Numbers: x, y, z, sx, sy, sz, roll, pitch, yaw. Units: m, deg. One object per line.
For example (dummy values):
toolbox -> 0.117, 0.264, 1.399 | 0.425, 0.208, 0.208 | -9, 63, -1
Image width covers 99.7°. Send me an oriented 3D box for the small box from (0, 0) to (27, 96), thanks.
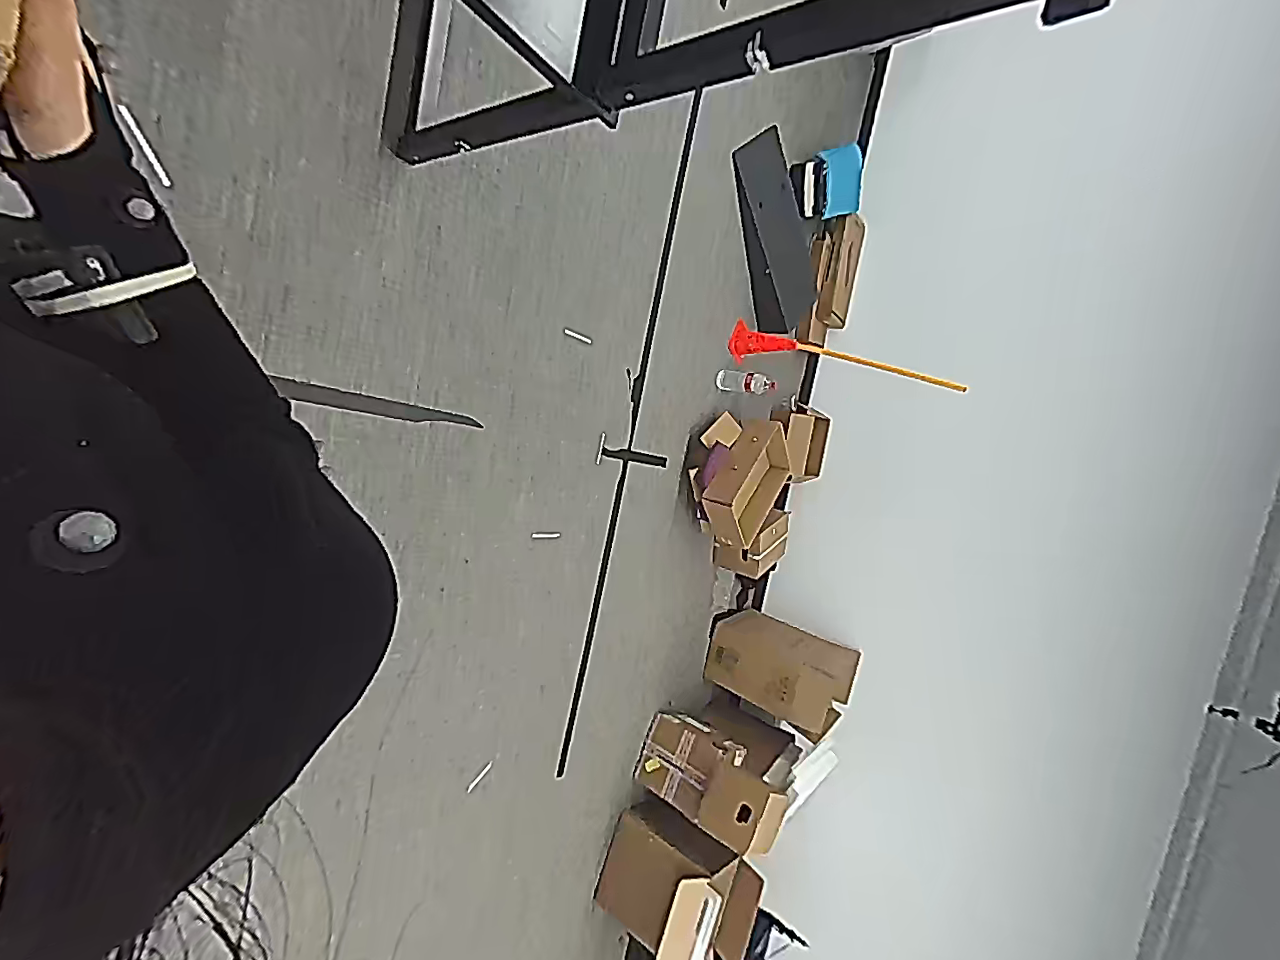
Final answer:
small box -> -0.324, -0.258, 0.177 | 0.168, 0.176, 0.179 | 6, 97, -55
